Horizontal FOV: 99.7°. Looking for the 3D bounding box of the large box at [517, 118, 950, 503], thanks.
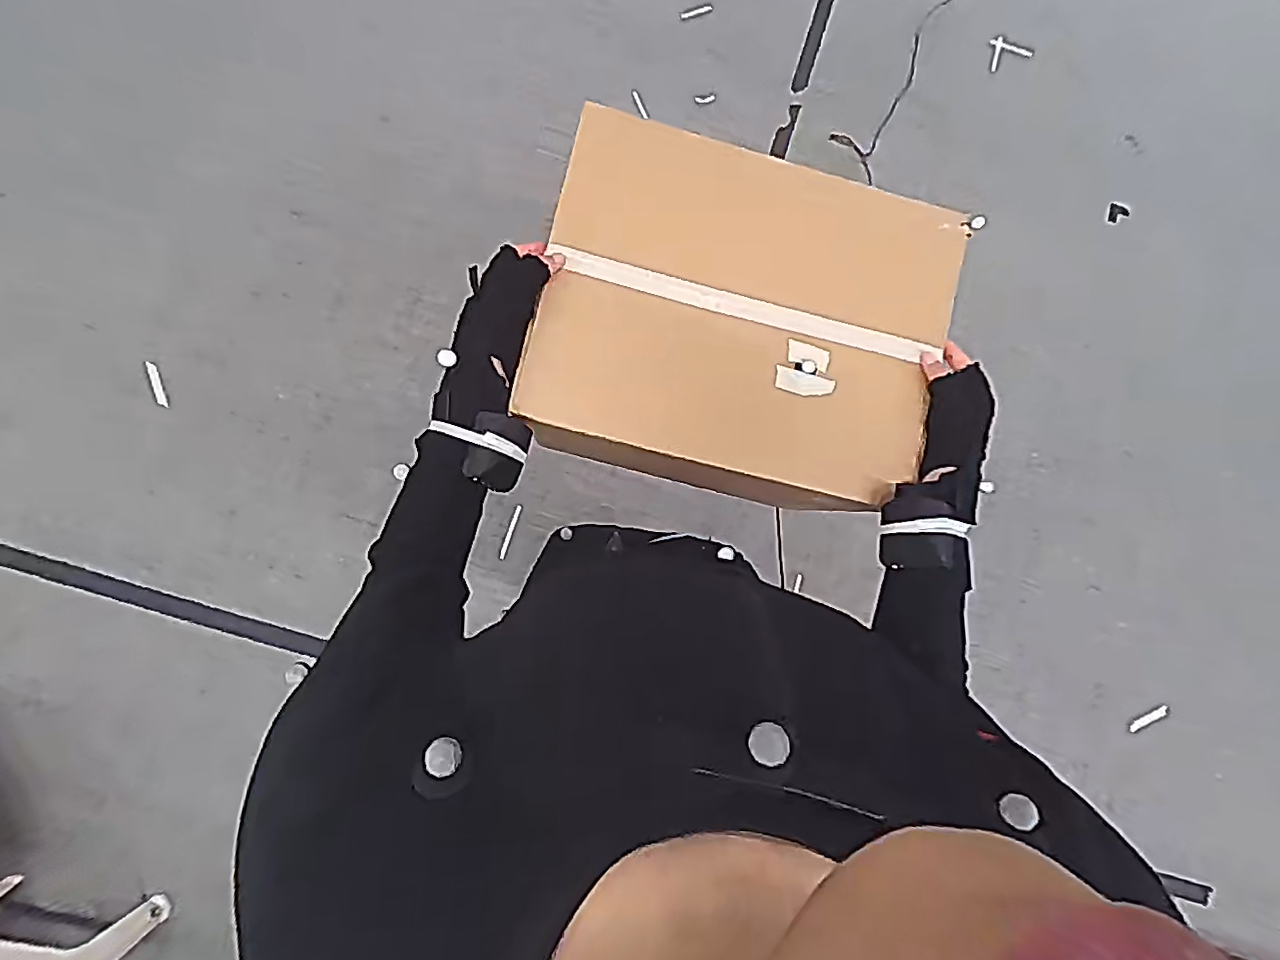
[{"bbox_3d":[0.087,-0.162,0.691,0.408,0.320,0.320,14,87,-6],"label":"large box"}]
